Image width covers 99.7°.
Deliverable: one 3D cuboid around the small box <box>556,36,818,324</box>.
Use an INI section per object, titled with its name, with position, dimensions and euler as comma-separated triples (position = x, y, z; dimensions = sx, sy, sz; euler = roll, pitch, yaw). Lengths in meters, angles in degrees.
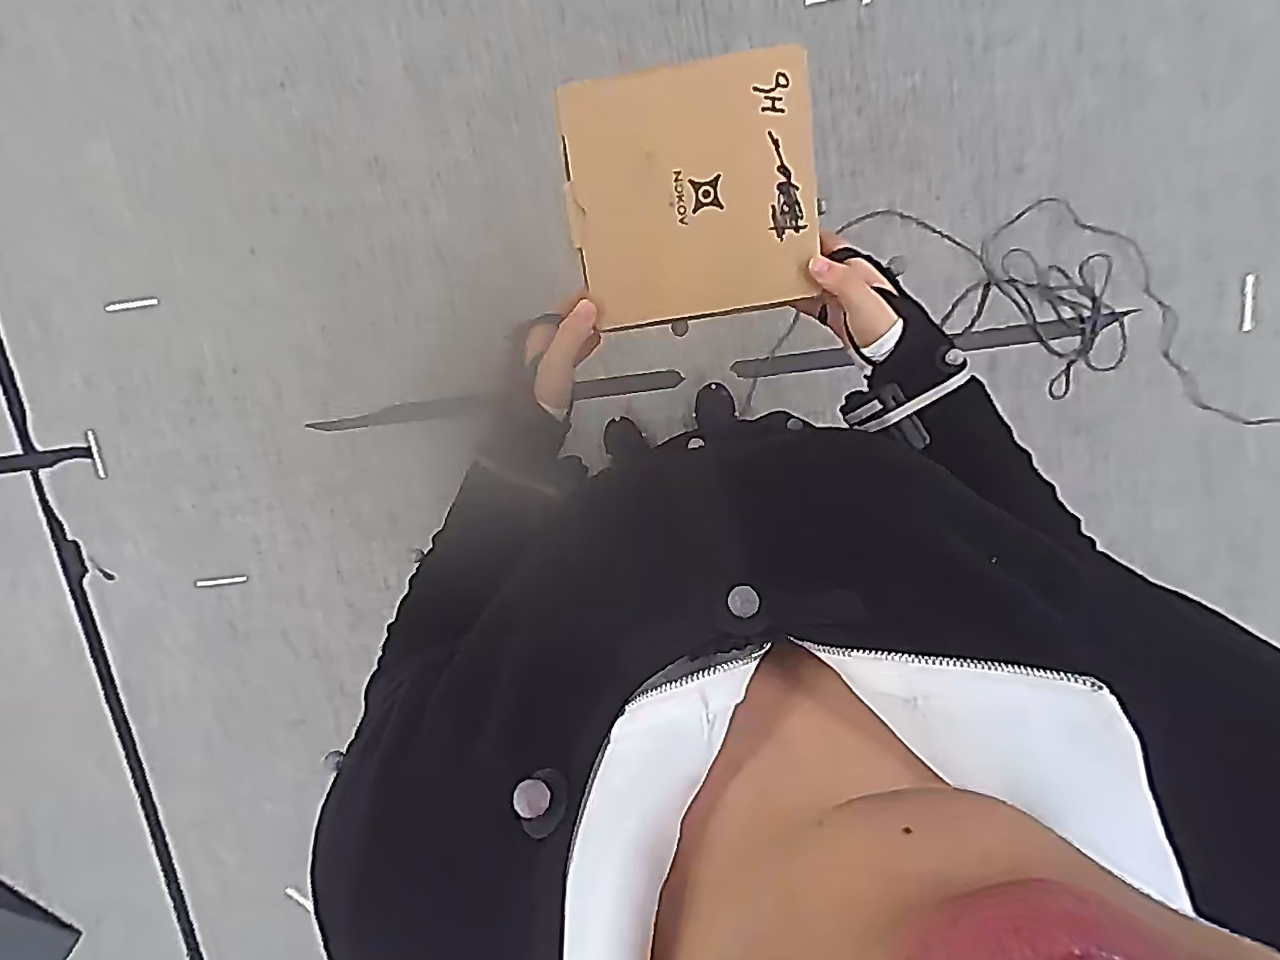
[small box]
position = 0.038, -0.231, 0.465
dimensions = 0.179, 0.176, 0.168
euler = -8, 104, 2
